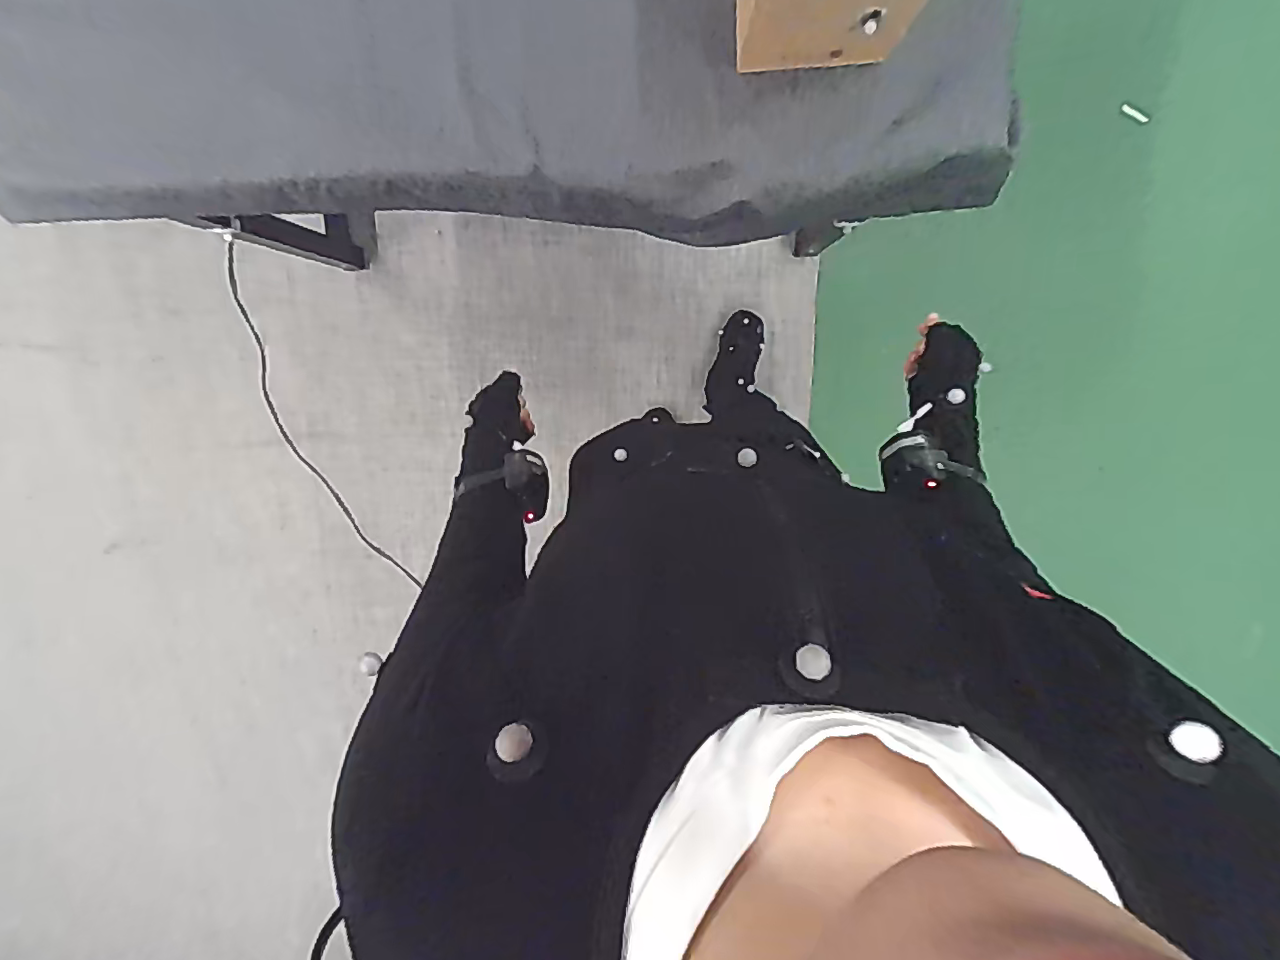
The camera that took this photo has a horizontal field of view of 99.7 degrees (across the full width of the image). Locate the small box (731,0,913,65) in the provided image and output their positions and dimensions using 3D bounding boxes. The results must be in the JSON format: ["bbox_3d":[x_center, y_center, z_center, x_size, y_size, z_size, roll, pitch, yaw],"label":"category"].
[{"bbox_3d":[0.181,-0.533,0.518,0.168,0.176,0.179,-3,101,2],"label":"small box"}]
